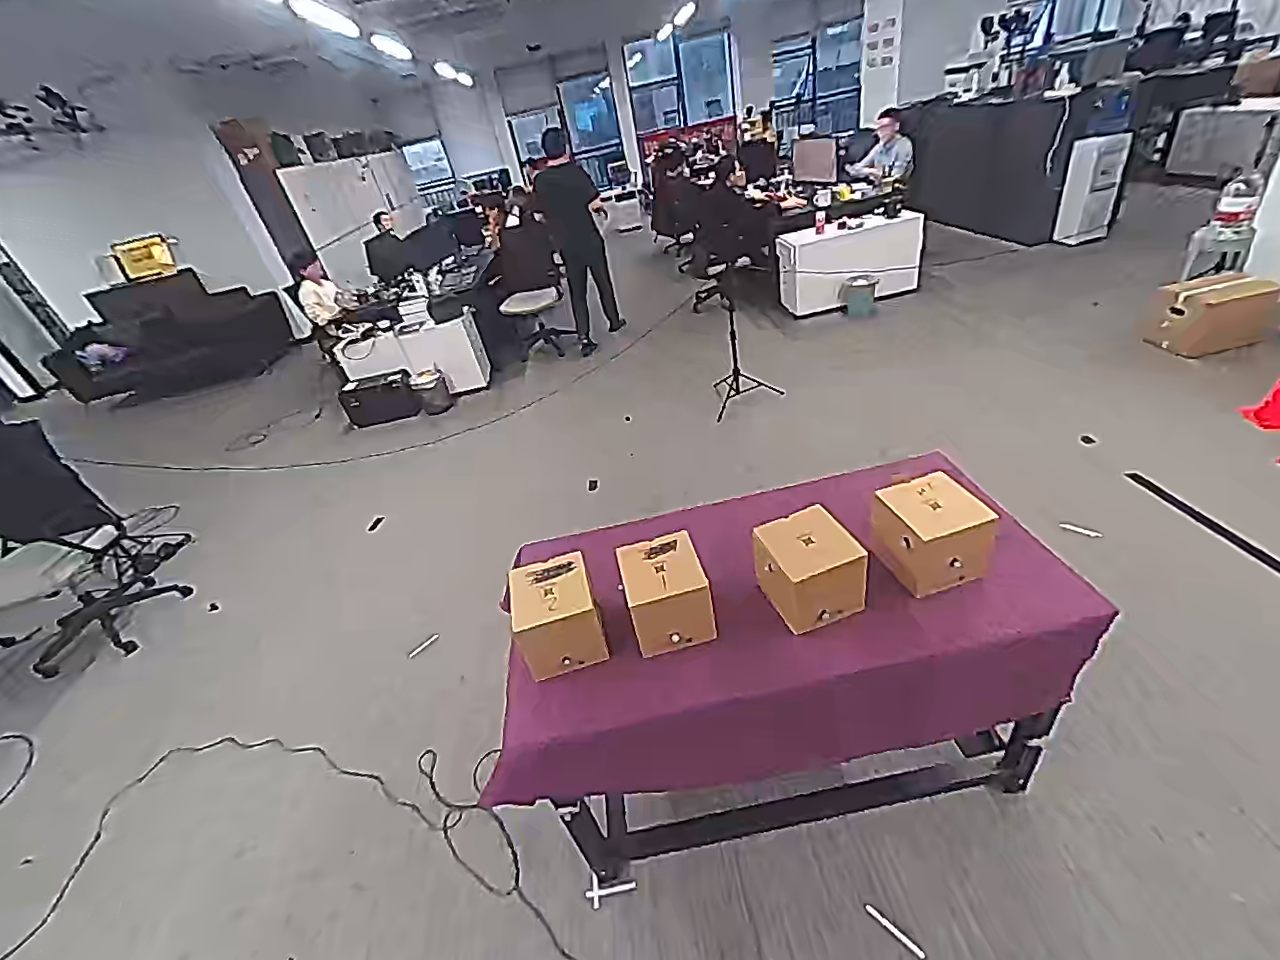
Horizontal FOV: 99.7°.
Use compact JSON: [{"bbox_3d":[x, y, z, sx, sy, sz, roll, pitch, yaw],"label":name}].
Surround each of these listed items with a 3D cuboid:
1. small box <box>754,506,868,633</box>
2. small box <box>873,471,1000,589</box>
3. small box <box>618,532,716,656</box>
[{"bbox_3d":[0.357,0.188,1.146,0.168,0.176,0.179,-20,34,-7],"label":"small box"},{"bbox_3d":[0.623,0.112,1.159,0.168,0.176,0.179,-17,34,-5],"label":"small box"},{"bbox_3d":[0.057,0.245,1.166,0.168,0.176,0.179,-15,35,-2],"label":"small box"}]
